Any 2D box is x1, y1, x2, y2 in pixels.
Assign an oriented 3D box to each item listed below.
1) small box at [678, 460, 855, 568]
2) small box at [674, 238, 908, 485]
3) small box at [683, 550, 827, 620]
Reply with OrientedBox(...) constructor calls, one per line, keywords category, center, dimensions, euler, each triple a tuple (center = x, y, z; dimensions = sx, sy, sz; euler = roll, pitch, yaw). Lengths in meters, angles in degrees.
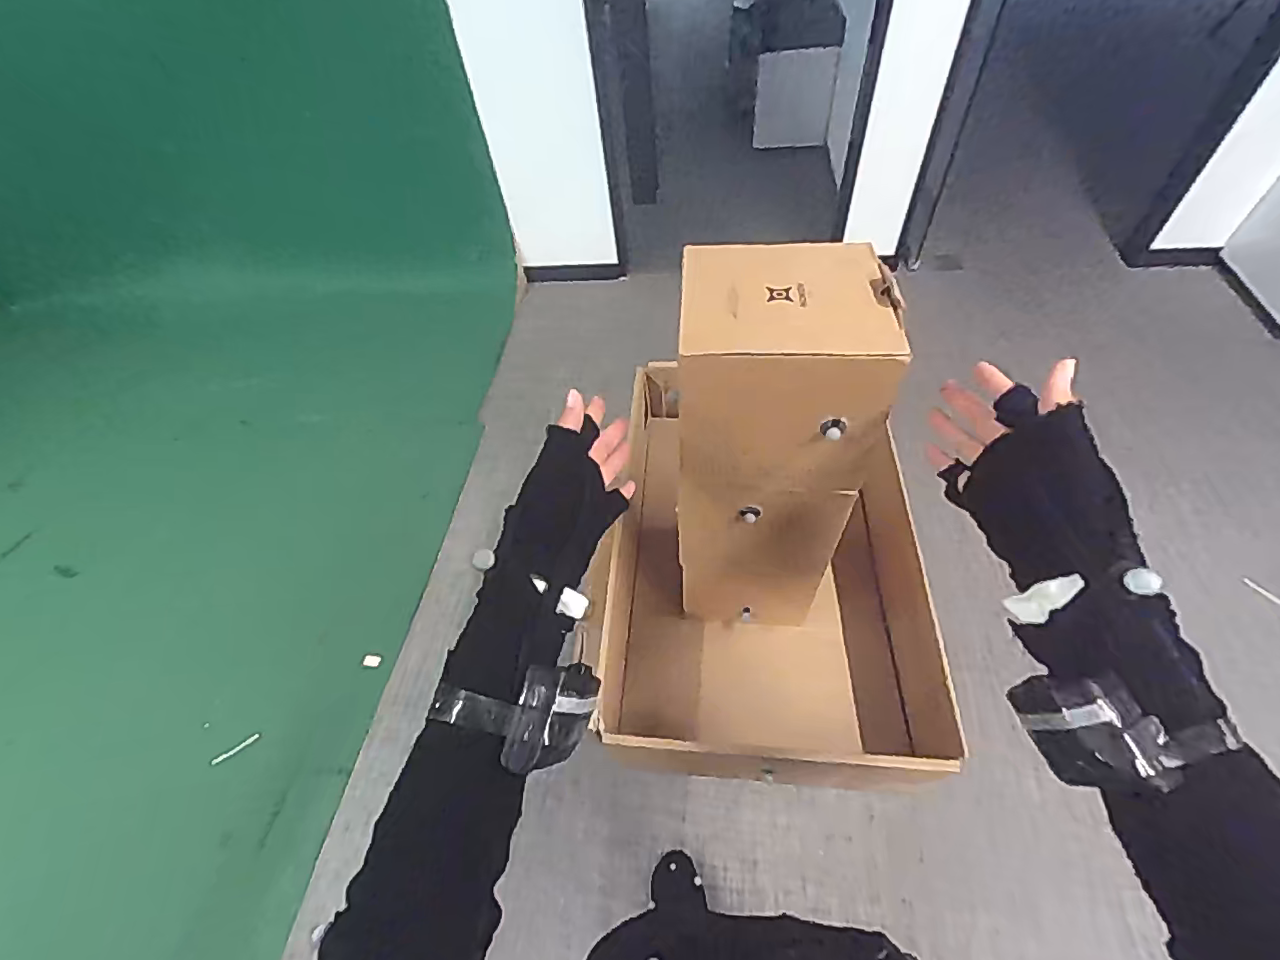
OrientedBox(category="small box", center=(0.141, -0.008, 0.645), dimensions=(0.179, 0.176, 0.168), euler=(4, 52, 8))
OrientedBox(category="small box", center=(0.127, -0.108, 0.517), dimensions=(0.179, 0.176, 0.168), euler=(1, 50, 8))
OrientedBox(category="small box", center=(0.154, 0.090, 0.777), dimensions=(0.179, 0.176, 0.168), euler=(2, 51, 6))
